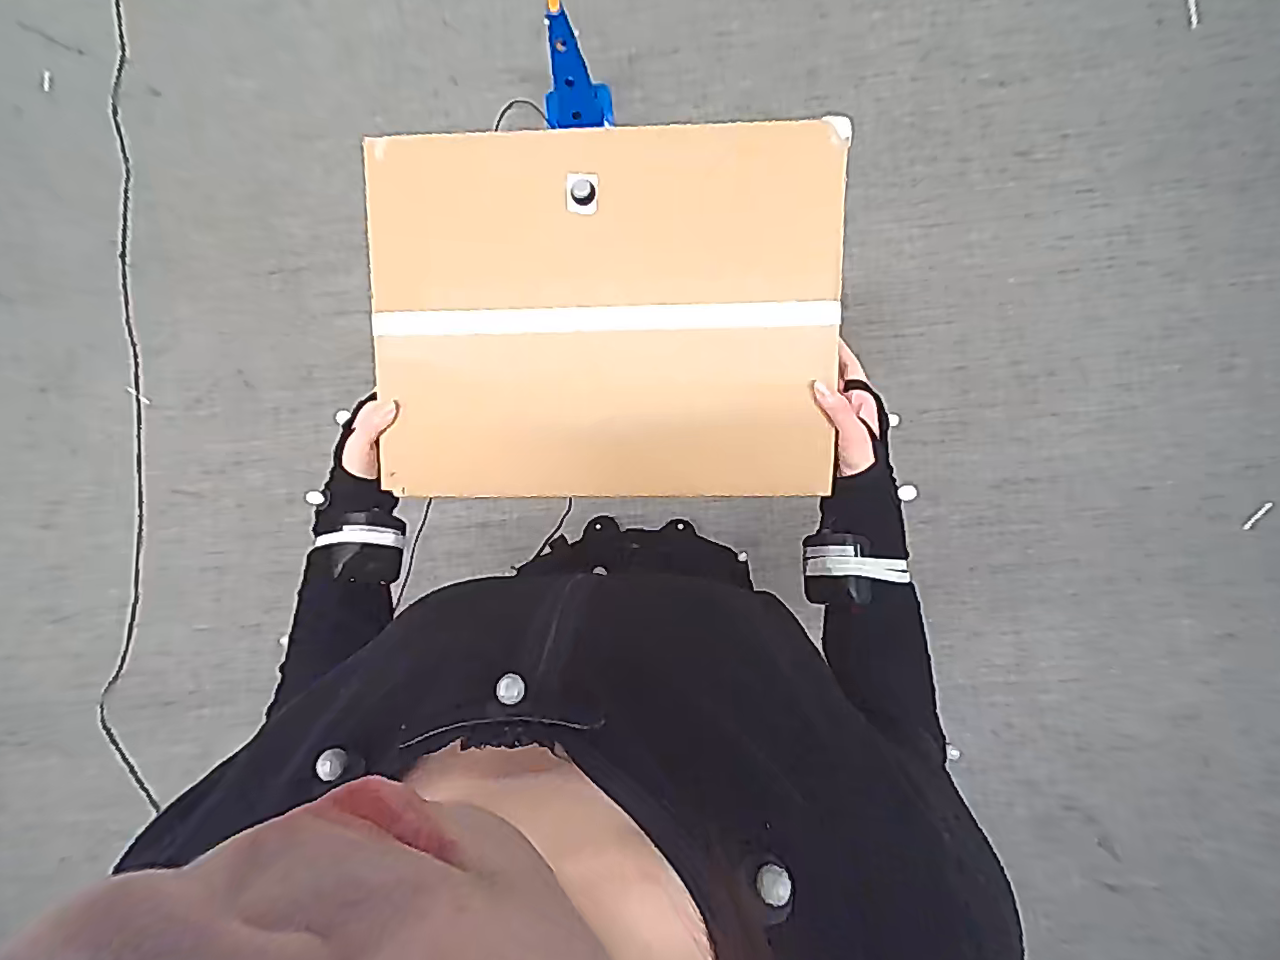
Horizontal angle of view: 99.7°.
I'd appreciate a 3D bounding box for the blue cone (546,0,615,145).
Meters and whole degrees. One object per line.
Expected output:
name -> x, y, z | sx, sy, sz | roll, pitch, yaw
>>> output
blue cone -> -0.182, -1.087, 1.411 | 0.193, 0.380, 0.192 | -8, 86, 1
